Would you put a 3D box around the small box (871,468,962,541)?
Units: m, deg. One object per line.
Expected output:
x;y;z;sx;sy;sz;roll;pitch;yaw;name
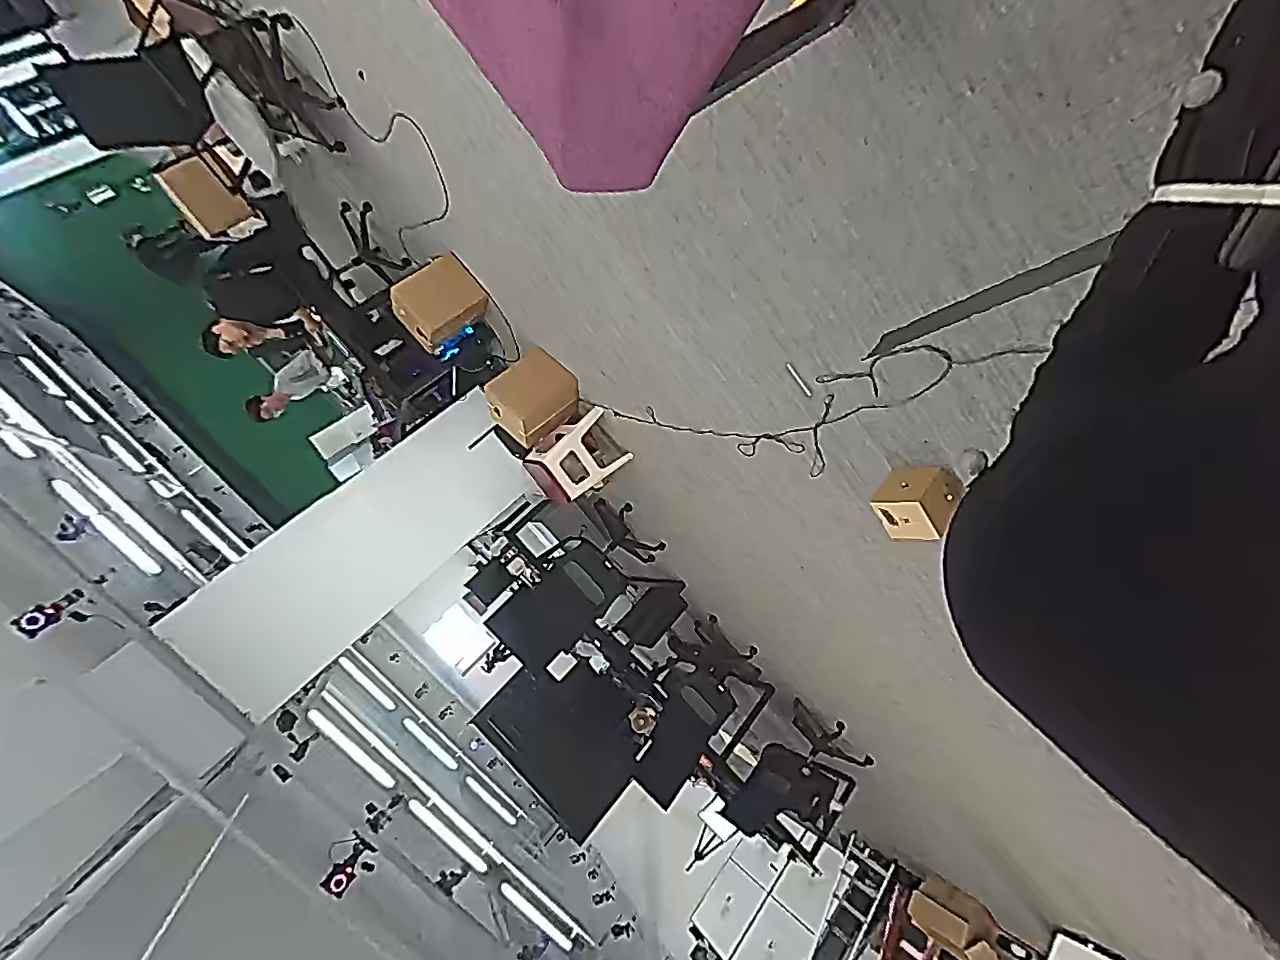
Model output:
0.890;0.076;1.739;0.168;0.176;0.179;52;155;-17;small box
